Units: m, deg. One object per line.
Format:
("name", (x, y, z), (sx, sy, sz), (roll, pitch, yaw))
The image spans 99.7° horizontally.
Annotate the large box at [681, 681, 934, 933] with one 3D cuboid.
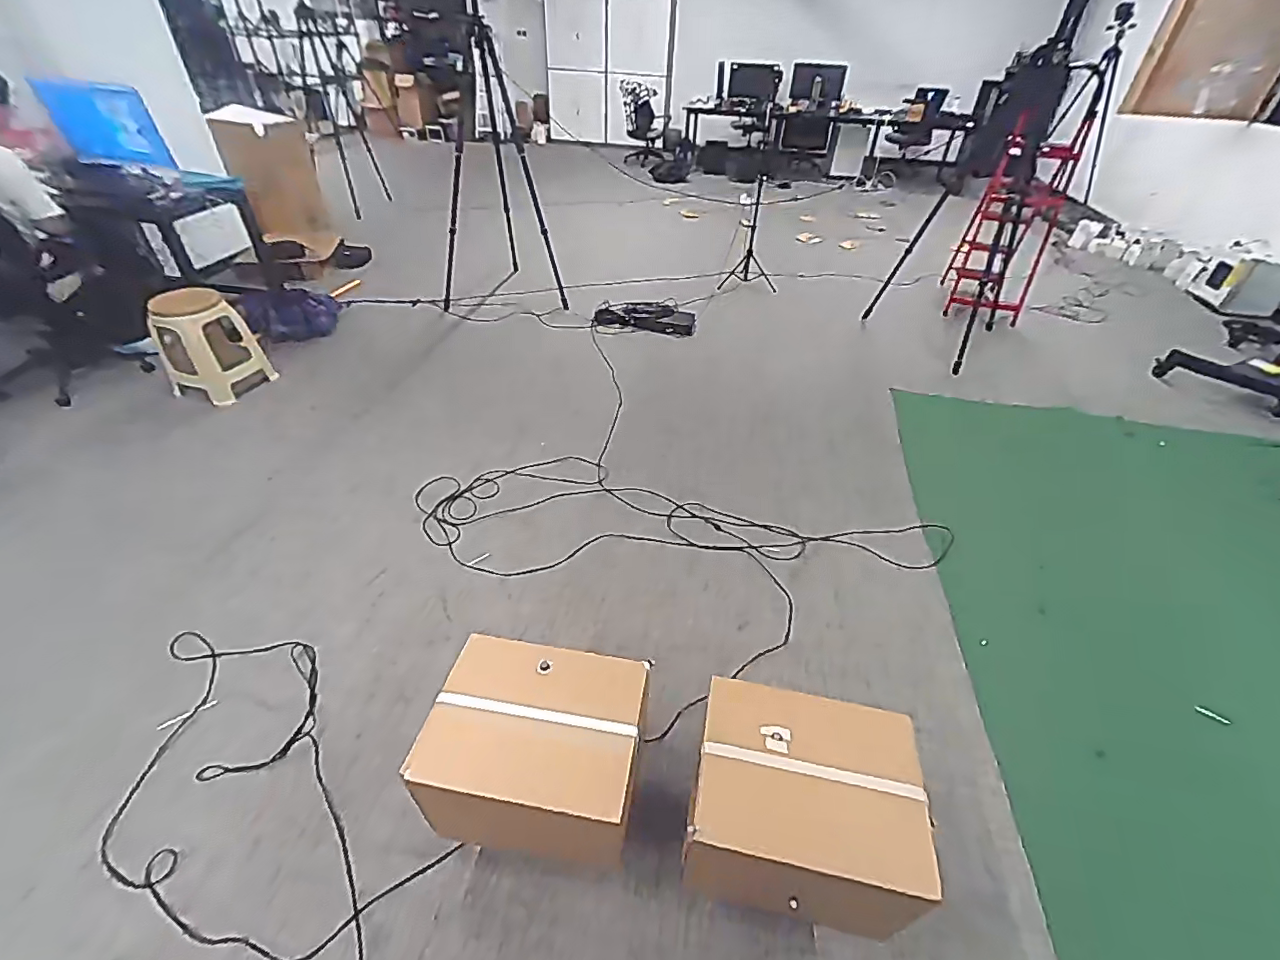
("large box", (0.312, 0.664, 1.108), (0.408, 0.320, 0.320), (9, 40, 8))
